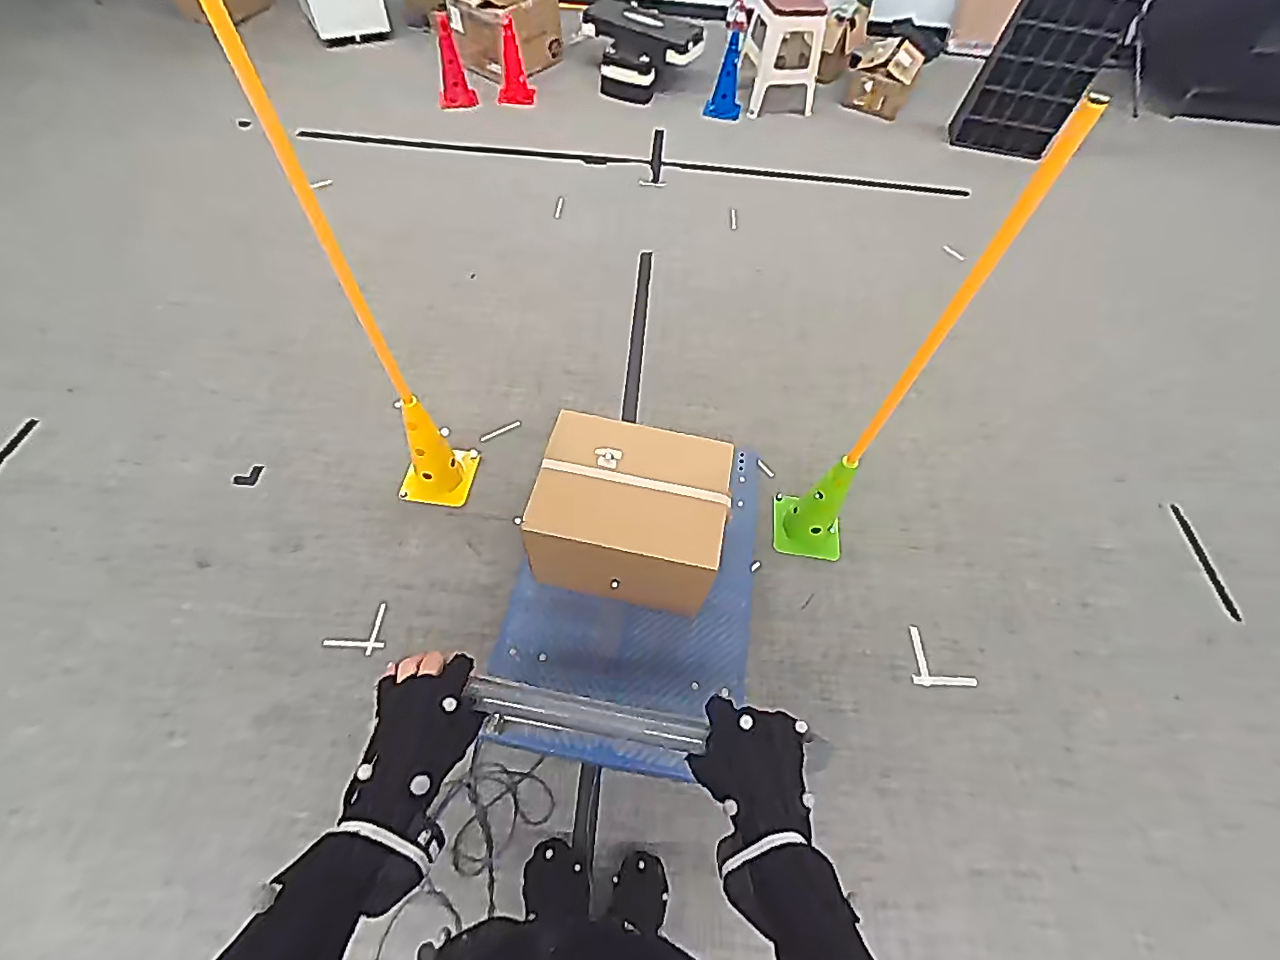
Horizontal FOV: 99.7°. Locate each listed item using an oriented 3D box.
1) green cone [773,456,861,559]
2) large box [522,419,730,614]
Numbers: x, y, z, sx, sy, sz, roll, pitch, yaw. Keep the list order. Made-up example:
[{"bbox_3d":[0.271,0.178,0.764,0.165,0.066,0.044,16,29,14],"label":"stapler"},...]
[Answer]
[{"bbox_3d":[0.523,0.053,1.520,0.202,0.368,0.200,9,58,0],"label":"green cone"},{"bbox_3d":[-0.022,0.097,1.286,0.408,0.320,0.320,11,58,4],"label":"large box"}]
